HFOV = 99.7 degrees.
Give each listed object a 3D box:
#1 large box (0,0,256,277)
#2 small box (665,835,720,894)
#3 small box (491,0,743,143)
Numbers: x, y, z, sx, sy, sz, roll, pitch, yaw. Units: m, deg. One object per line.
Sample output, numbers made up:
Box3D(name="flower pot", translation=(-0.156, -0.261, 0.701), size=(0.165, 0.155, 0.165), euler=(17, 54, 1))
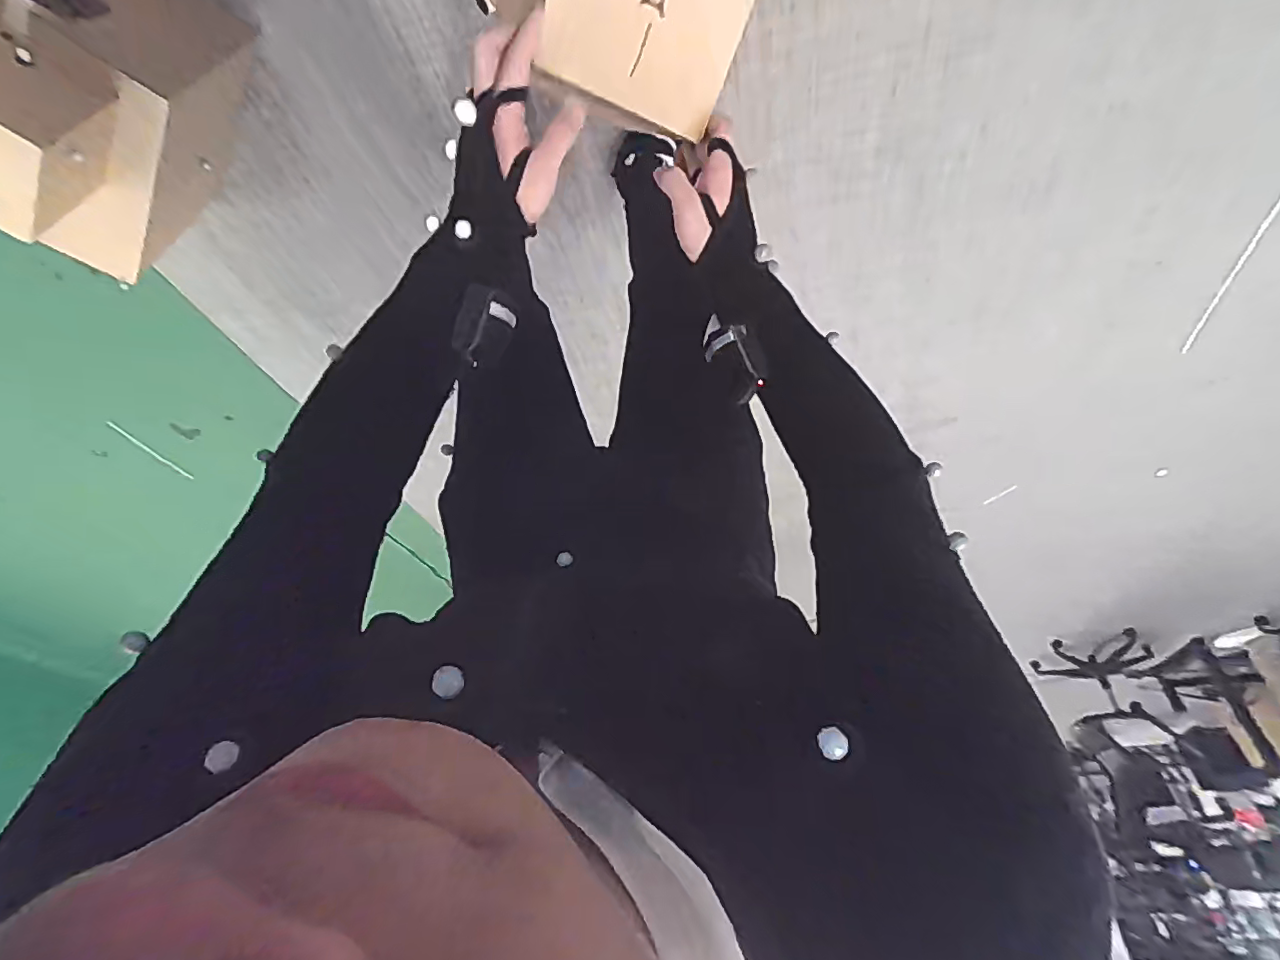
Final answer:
Box3D(name="large box", translation=(-0.901, -0.640, 0.887), size=(0.320, 0.320, 0.408), euler=(29, 136, -32))
Box3D(name="small box", translation=(0.185, 1.363, 1.921), size=(0.168, 0.176, 0.179), euler=(-9, 142, 14))
Box3D(name="small box", translation=(-0.024, -0.428, 0.475), size=(0.168, 0.176, 0.179), euler=(3, 122, -30))
